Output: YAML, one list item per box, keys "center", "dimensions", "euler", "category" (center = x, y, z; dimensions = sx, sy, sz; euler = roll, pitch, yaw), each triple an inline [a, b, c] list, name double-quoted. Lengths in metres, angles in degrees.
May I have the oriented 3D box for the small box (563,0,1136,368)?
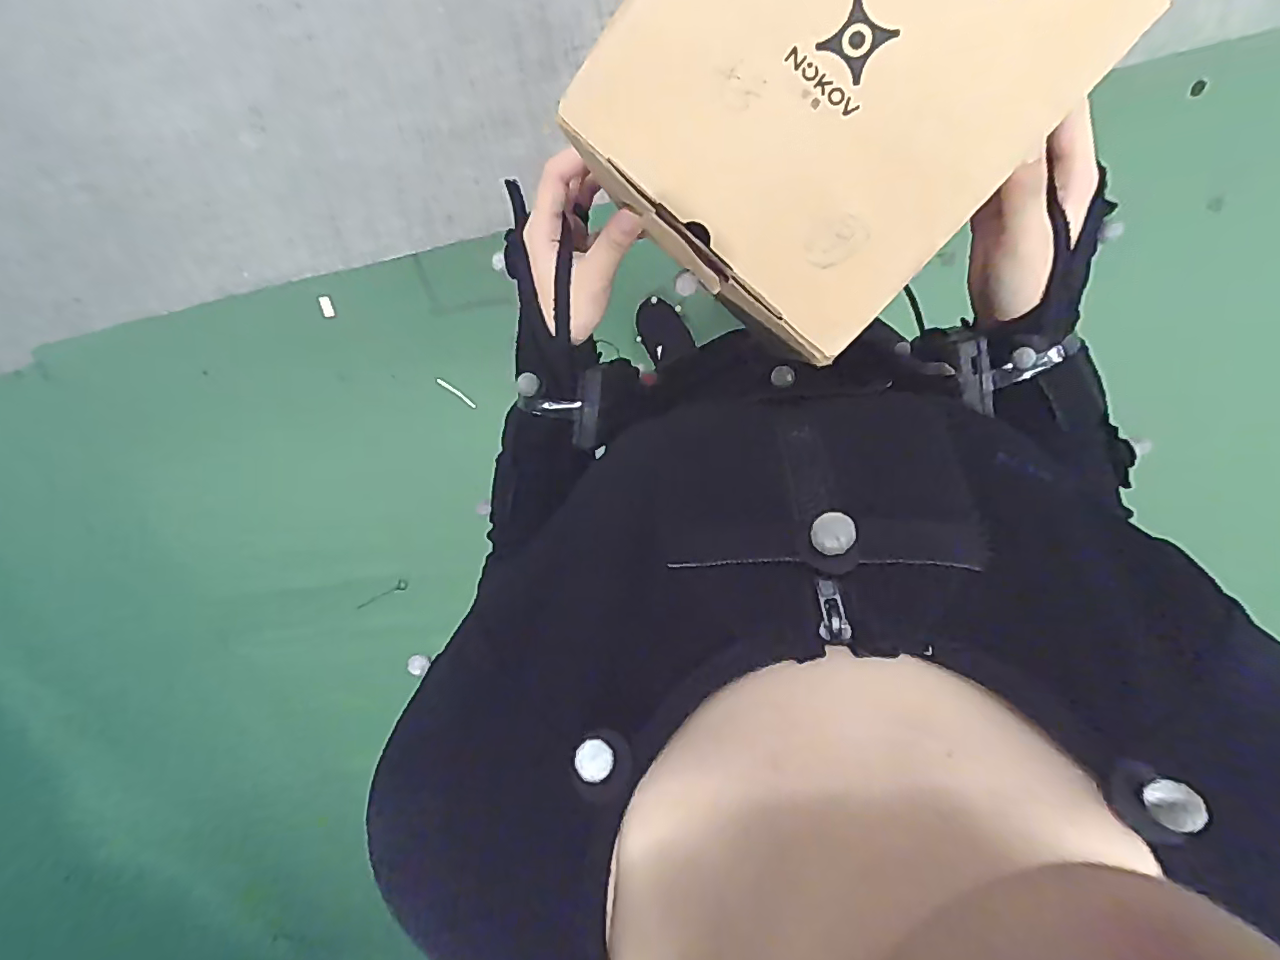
- center: [0.090, -0.184, 0.304]
  dimensions: [0.168, 0.176, 0.179]
  euler: [41, 106, -3]
  category: "small box"
